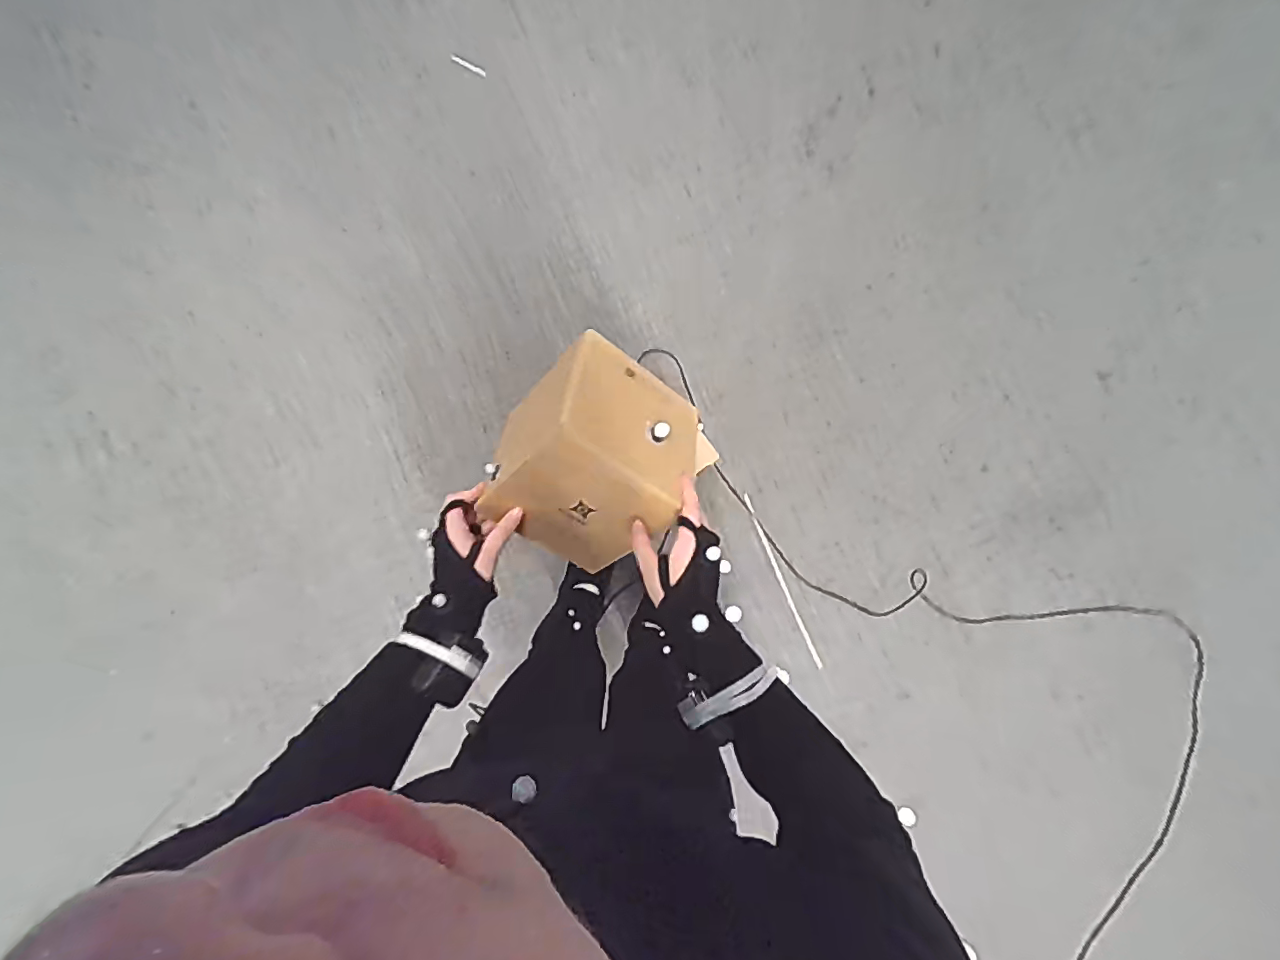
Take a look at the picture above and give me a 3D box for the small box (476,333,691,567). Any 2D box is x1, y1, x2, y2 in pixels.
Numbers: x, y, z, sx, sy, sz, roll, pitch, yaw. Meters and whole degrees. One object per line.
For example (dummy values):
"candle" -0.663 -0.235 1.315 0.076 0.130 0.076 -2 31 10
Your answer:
"small box" -0.057 -0.032 0.620 0.168 0.176 0.179 32 135 -25

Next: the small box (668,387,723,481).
"small box" 0.059 -0.073 1.161 0.168 0.176 0.179 -36 88 3
